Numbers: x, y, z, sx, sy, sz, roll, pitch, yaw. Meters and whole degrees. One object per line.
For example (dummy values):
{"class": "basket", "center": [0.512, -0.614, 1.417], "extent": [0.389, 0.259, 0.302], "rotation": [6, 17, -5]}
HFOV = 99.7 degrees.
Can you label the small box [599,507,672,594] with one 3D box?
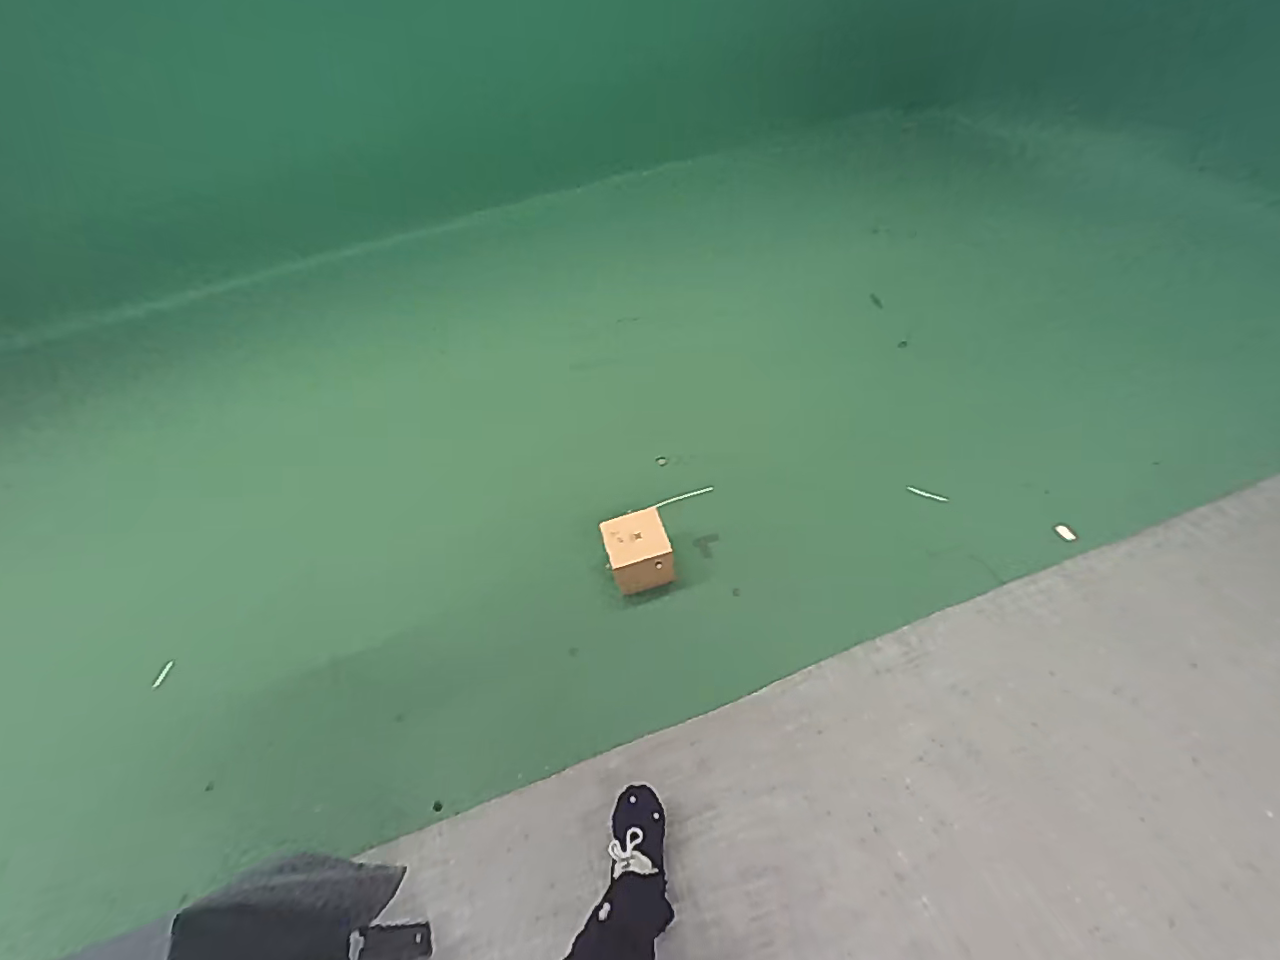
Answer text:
{"class": "small box", "center": [-0.008, 0.211, 1.604], "extent": [0.179, 0.176, 0.168], "rotation": [-17, 51, -5]}
